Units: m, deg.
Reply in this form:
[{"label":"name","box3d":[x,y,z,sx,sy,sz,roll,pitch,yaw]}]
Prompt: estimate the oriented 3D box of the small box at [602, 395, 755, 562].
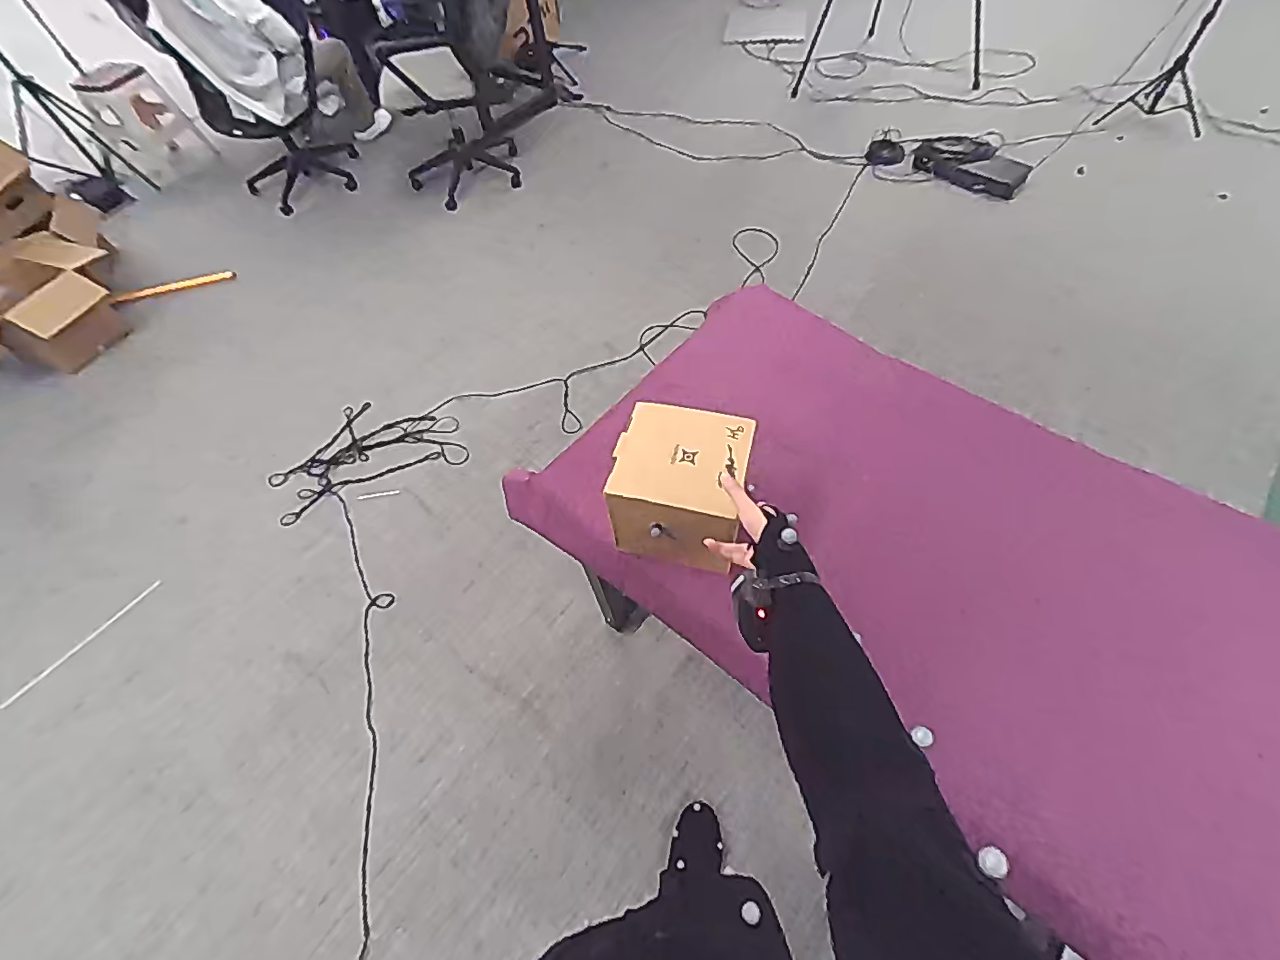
[{"label":"small box","box3d":[0.061,0.002,0.789,0.179,0.176,0.168,11,58,12]}]
